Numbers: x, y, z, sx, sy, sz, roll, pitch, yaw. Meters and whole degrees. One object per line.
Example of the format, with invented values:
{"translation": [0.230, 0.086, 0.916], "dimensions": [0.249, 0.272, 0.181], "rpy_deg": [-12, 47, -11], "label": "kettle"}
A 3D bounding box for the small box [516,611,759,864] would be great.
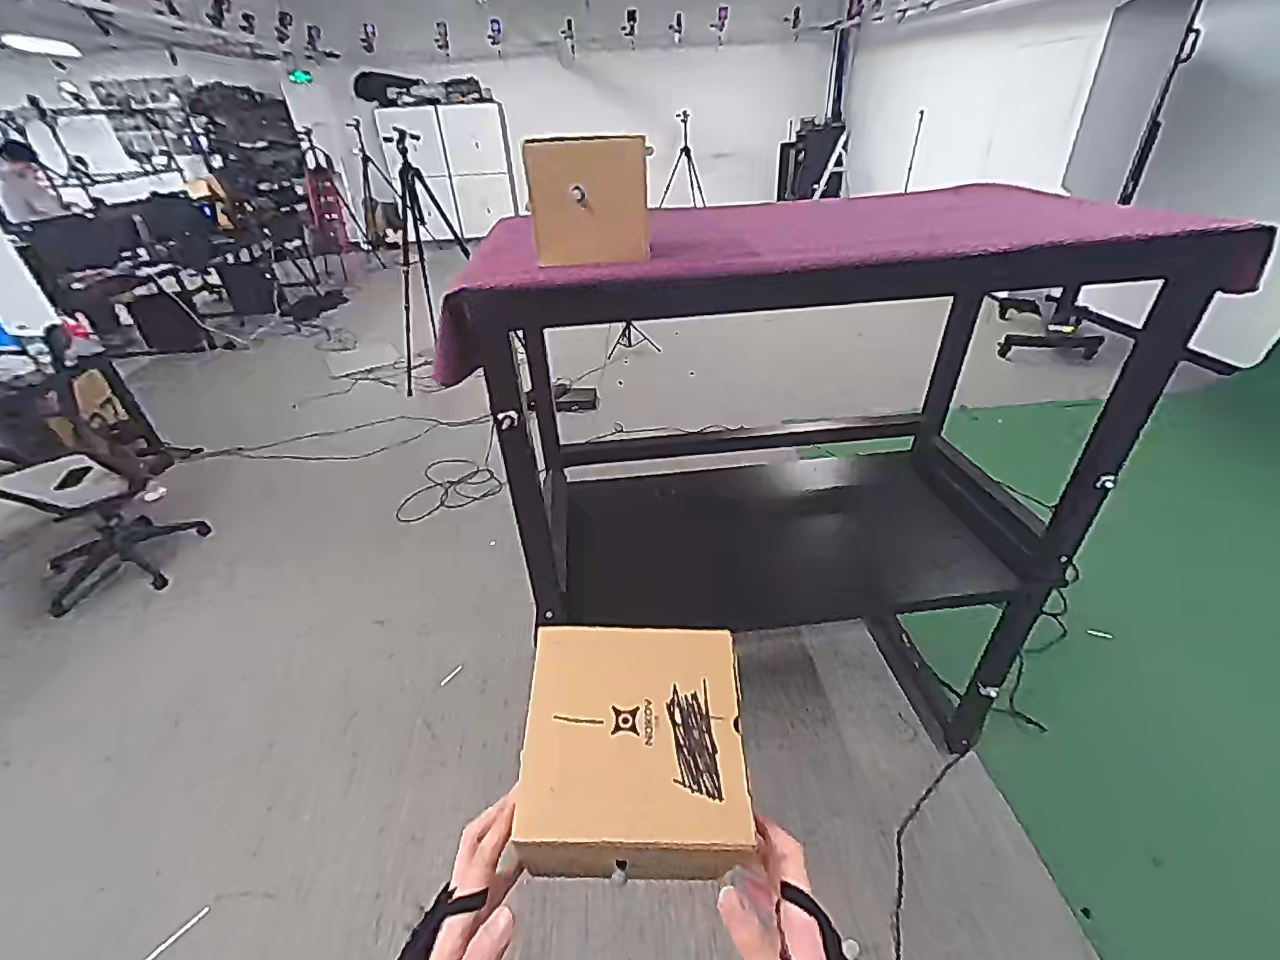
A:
{"translation": [-0.004, 0.236, 0.493], "dimensions": [0.179, 0.176, 0.168], "rpy_deg": [2, 47, -2], "label": "small box"}

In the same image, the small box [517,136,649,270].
{"translation": [-0.082, -0.438, 0.853], "dimensions": [0.179, 0.176, 0.168], "rpy_deg": [-4, 34, -1], "label": "small box"}
